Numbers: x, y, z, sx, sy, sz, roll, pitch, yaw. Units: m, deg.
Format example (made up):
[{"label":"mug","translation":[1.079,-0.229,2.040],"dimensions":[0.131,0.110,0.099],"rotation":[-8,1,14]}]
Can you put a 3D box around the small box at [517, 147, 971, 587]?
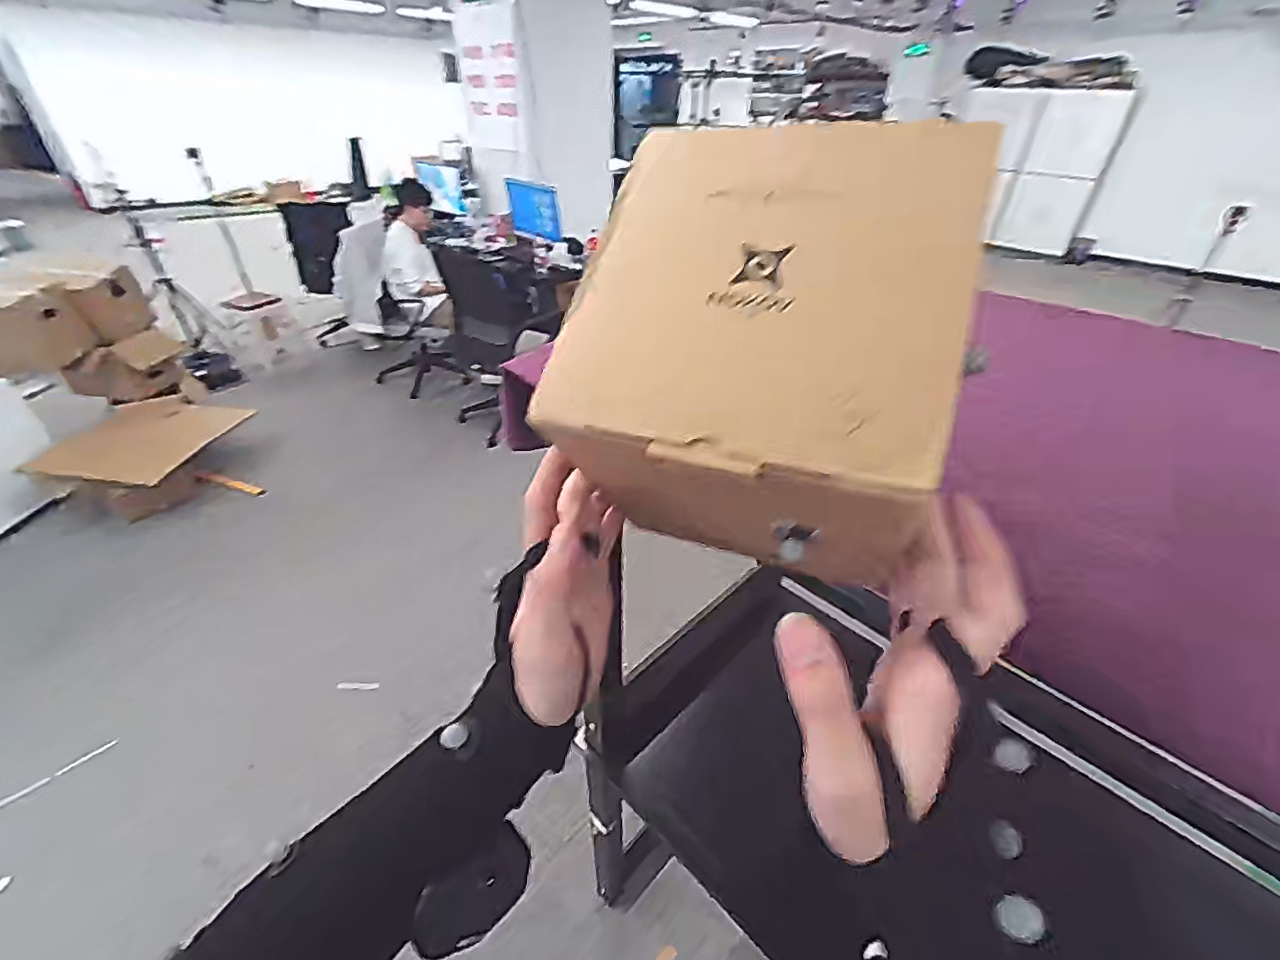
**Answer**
[{"label":"small box","translation":[0.064,-0.051,0.309],"dimensions":[0.168,0.176,0.179],"rotation":[12,72,20]}]
